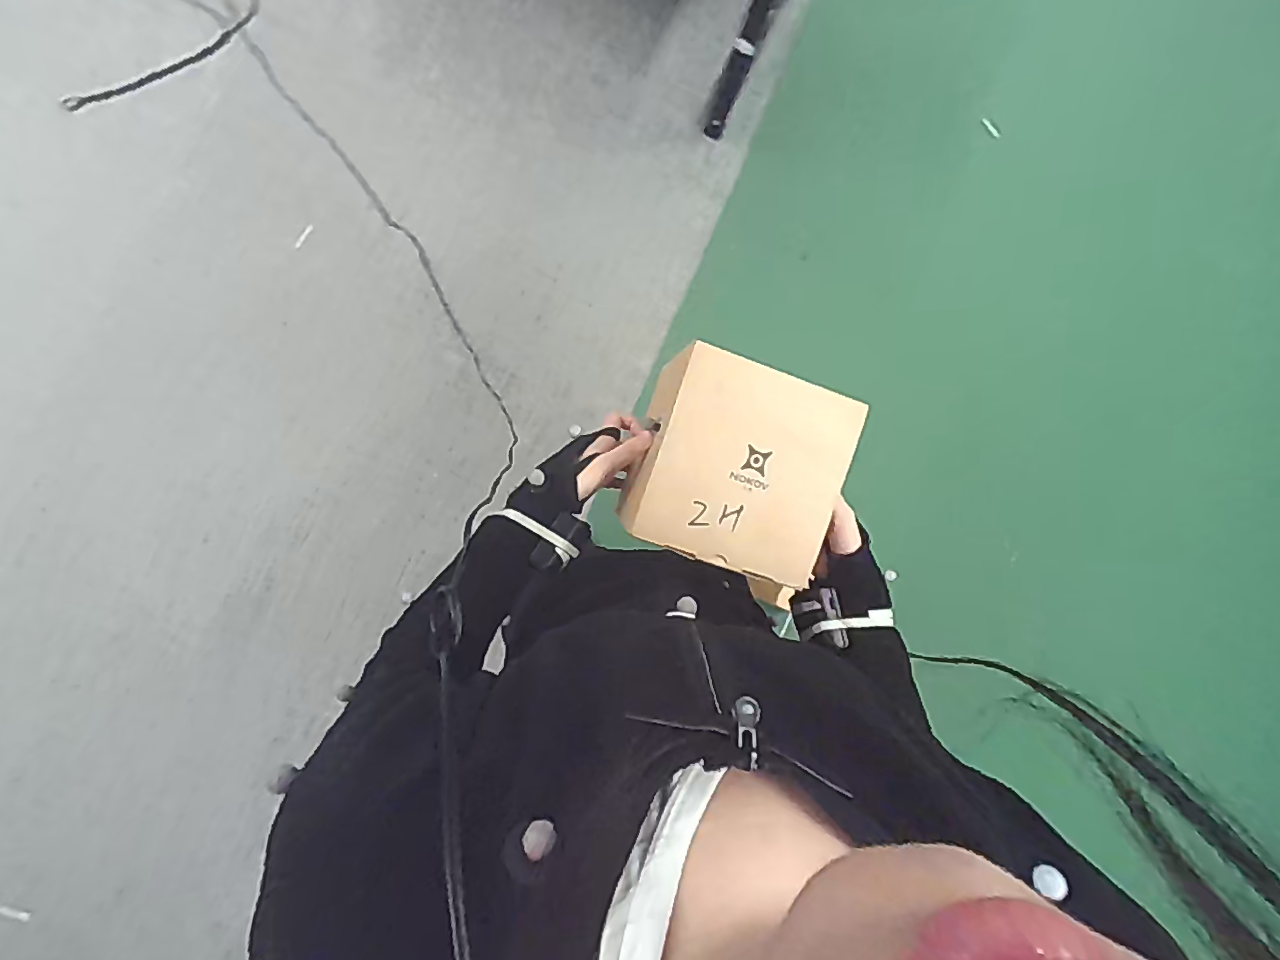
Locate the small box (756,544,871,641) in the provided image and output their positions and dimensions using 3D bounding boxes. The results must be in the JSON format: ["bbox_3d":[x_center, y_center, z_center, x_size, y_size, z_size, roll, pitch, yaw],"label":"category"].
[{"bbox_3d":[0.409,0.259,1.298,0.179,0.176,0.168,25,83,-5],"label":"small box"}]
